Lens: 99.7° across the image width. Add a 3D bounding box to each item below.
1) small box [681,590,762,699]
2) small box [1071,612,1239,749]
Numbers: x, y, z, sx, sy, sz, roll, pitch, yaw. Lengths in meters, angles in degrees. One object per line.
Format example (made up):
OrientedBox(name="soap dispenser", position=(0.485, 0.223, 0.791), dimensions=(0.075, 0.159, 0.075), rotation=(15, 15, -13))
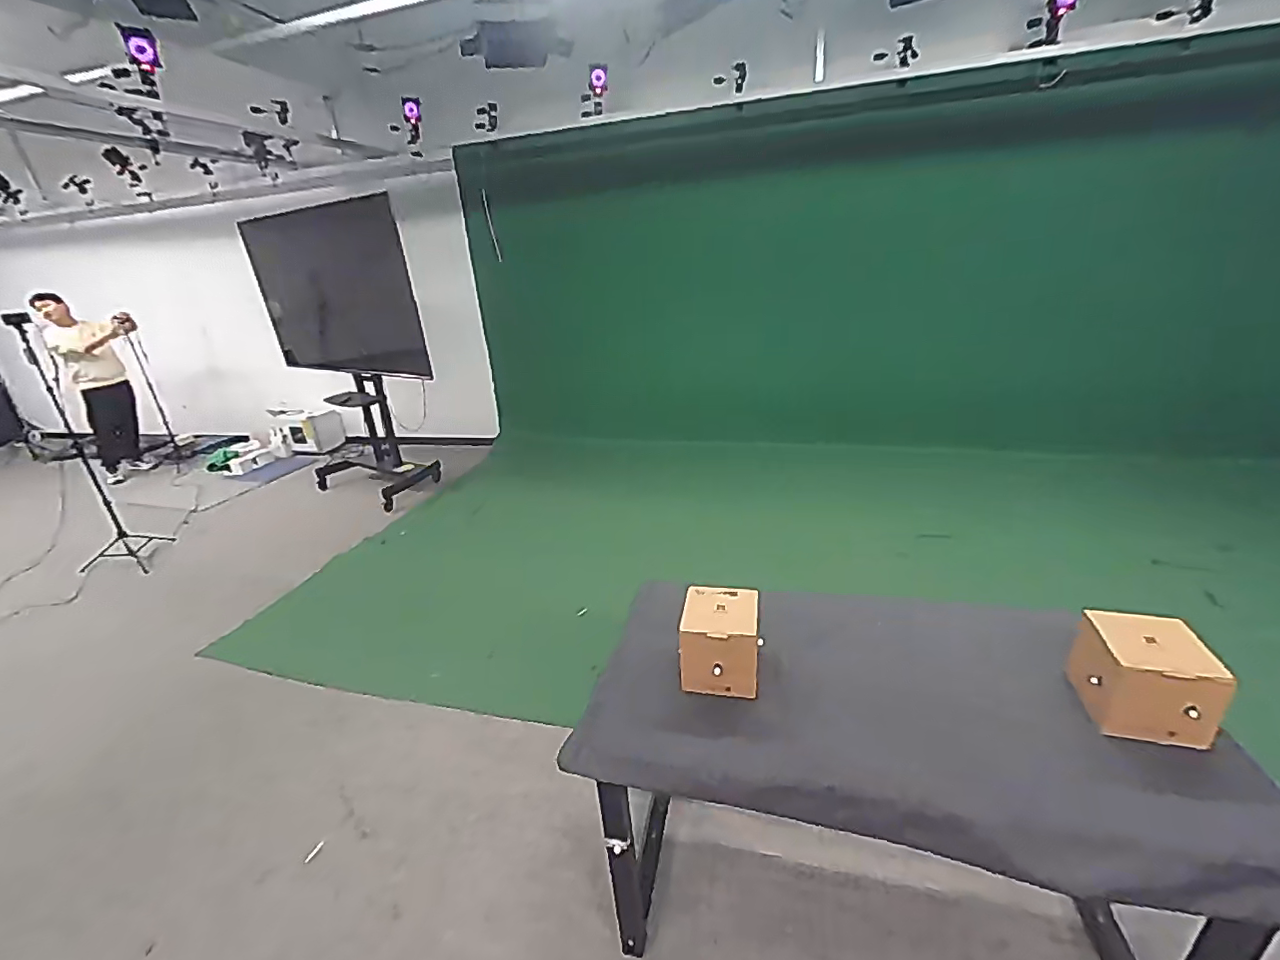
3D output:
OrientedBox(name="small box", position=(0.193, 0.375, 1.241), dimensions=(0.168, 0.176, 0.179), rotation=(1, 23, 13))
OrientedBox(name="small box", position=(0.977, 0.383, 1.046), dimensions=(0.168, 0.176, 0.179), rotation=(3, 22, 17))
